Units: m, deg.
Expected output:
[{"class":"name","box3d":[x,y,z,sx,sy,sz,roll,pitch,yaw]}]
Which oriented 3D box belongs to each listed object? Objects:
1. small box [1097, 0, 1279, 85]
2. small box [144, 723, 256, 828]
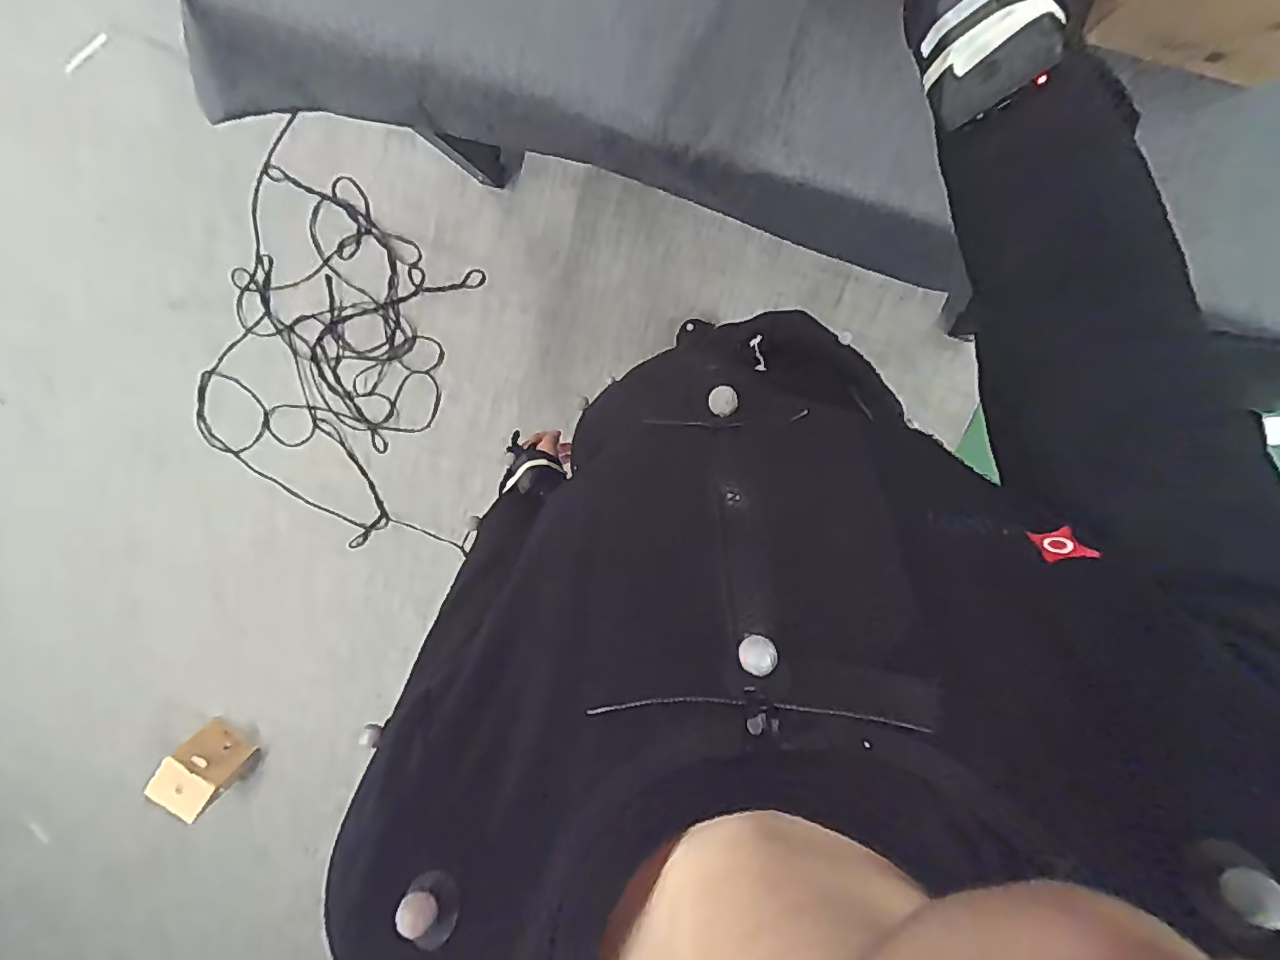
[{"class":"small box","box3d":[0.486,-0.427,0.382,0.168,0.176,0.179,16,103,0]},{"class":"small box","box3d":[-1.303,0.876,1.615,0.168,0.176,0.179,38,103,-4]}]
